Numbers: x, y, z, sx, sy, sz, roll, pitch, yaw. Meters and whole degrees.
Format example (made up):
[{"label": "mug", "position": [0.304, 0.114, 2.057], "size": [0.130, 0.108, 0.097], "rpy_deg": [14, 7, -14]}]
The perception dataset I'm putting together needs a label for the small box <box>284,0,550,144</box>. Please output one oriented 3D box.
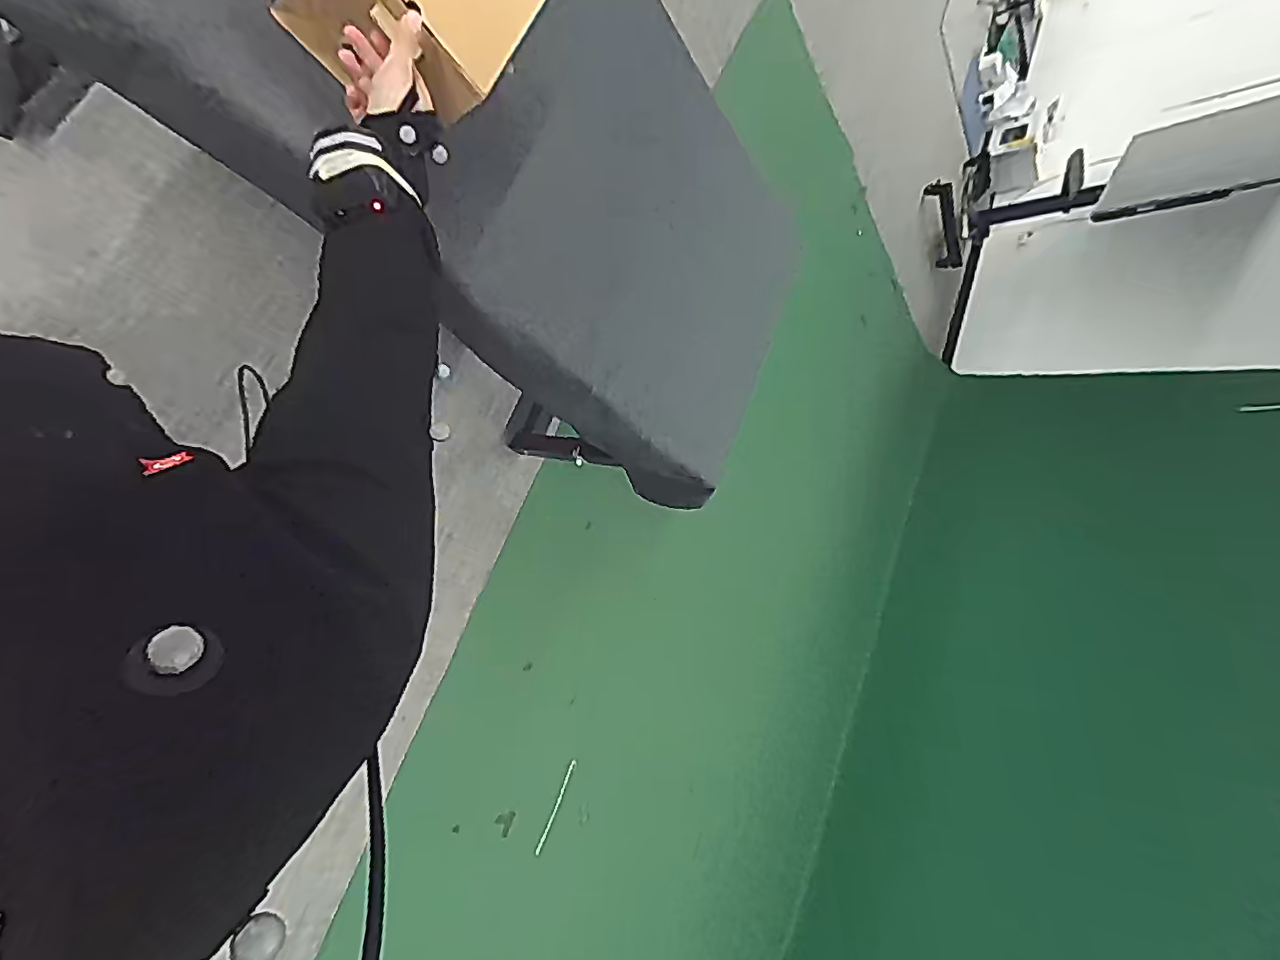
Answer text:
[{"label": "small box", "position": [-0.228, -0.496, 0.558], "size": [0.168, 0.176, 0.179], "rpy_deg": [37, 70, -44]}]
